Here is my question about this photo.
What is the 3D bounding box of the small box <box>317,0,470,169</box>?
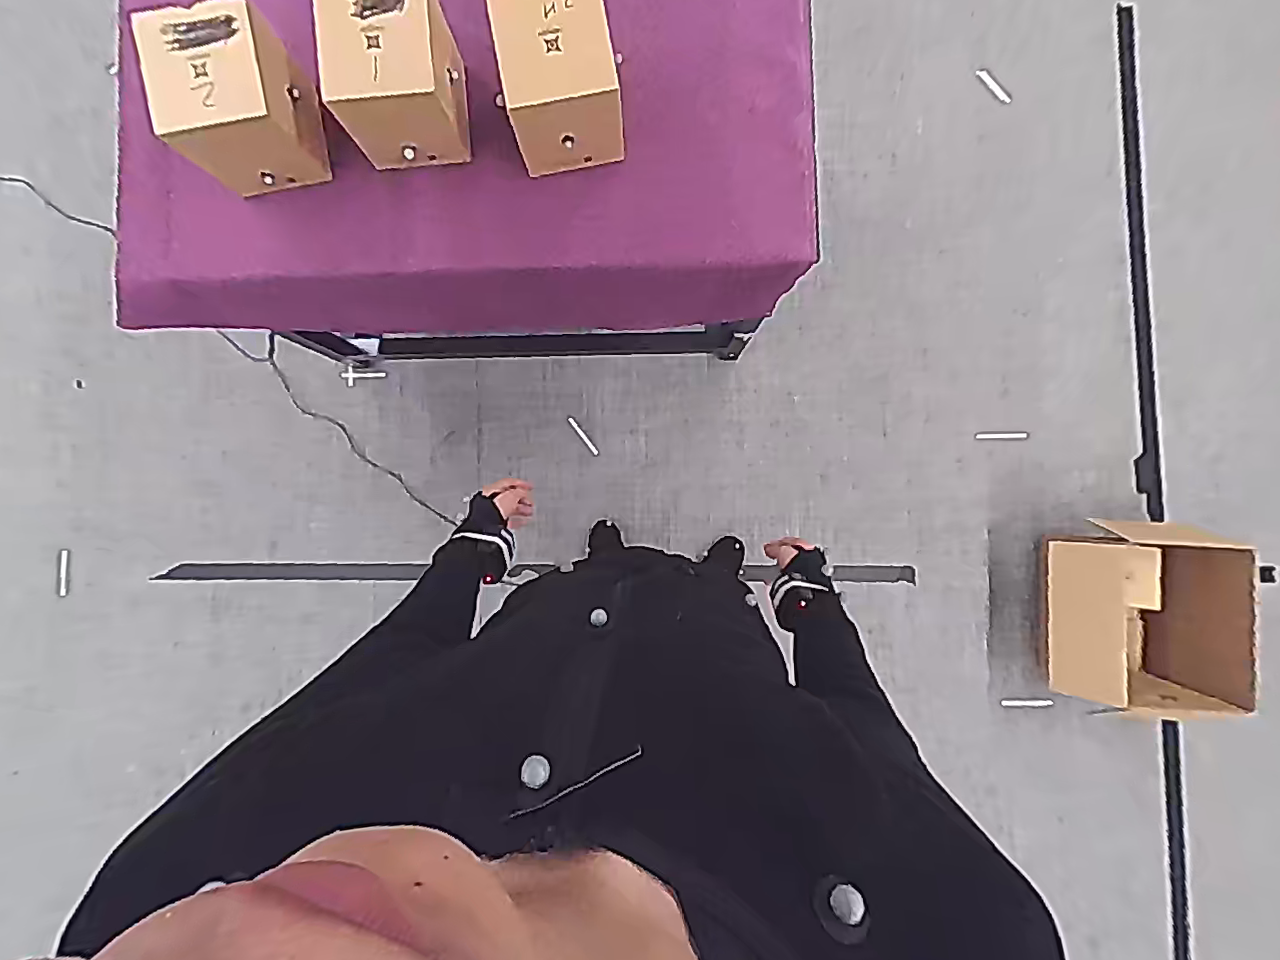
[{"bbox_3d":[-0.378,-0.630,0.853,0.168,0.176,0.179,-5,89,0],"label":"small box"}]

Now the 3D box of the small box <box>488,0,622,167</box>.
[{"bbox_3d":[-0.124,-0.623,0.851,0.168,0.176,0.179,-10,88,0],"label":"small box"}]
